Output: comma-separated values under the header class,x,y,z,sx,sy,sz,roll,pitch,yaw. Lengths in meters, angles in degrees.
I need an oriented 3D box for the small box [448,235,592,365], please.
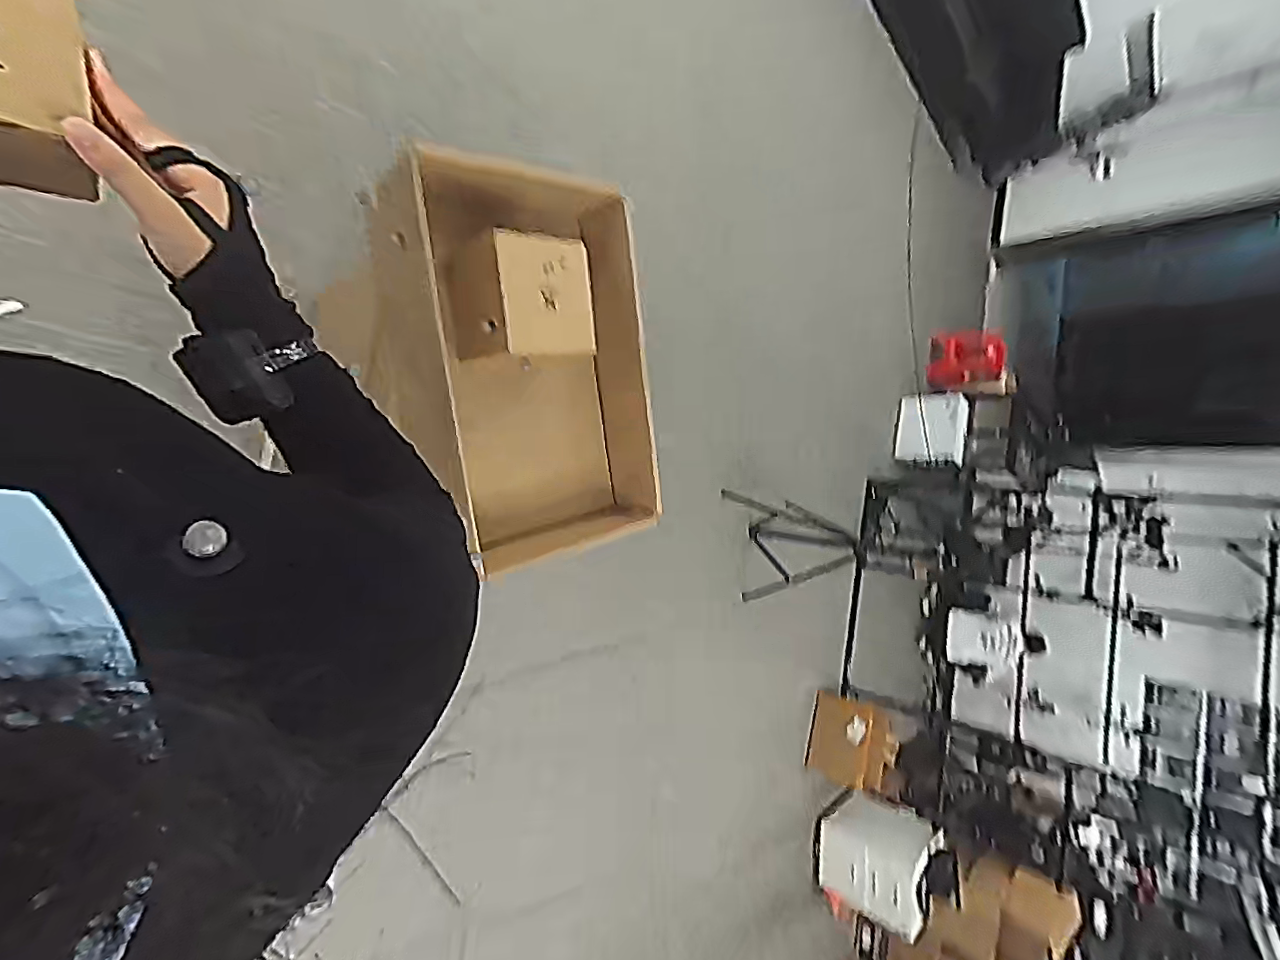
class,x,y,z,sx,sy,sz,roll,pitch,yaw
small box,-0.199,-0.284,0.898,0.168,0.176,0.179,-13,103,-43
